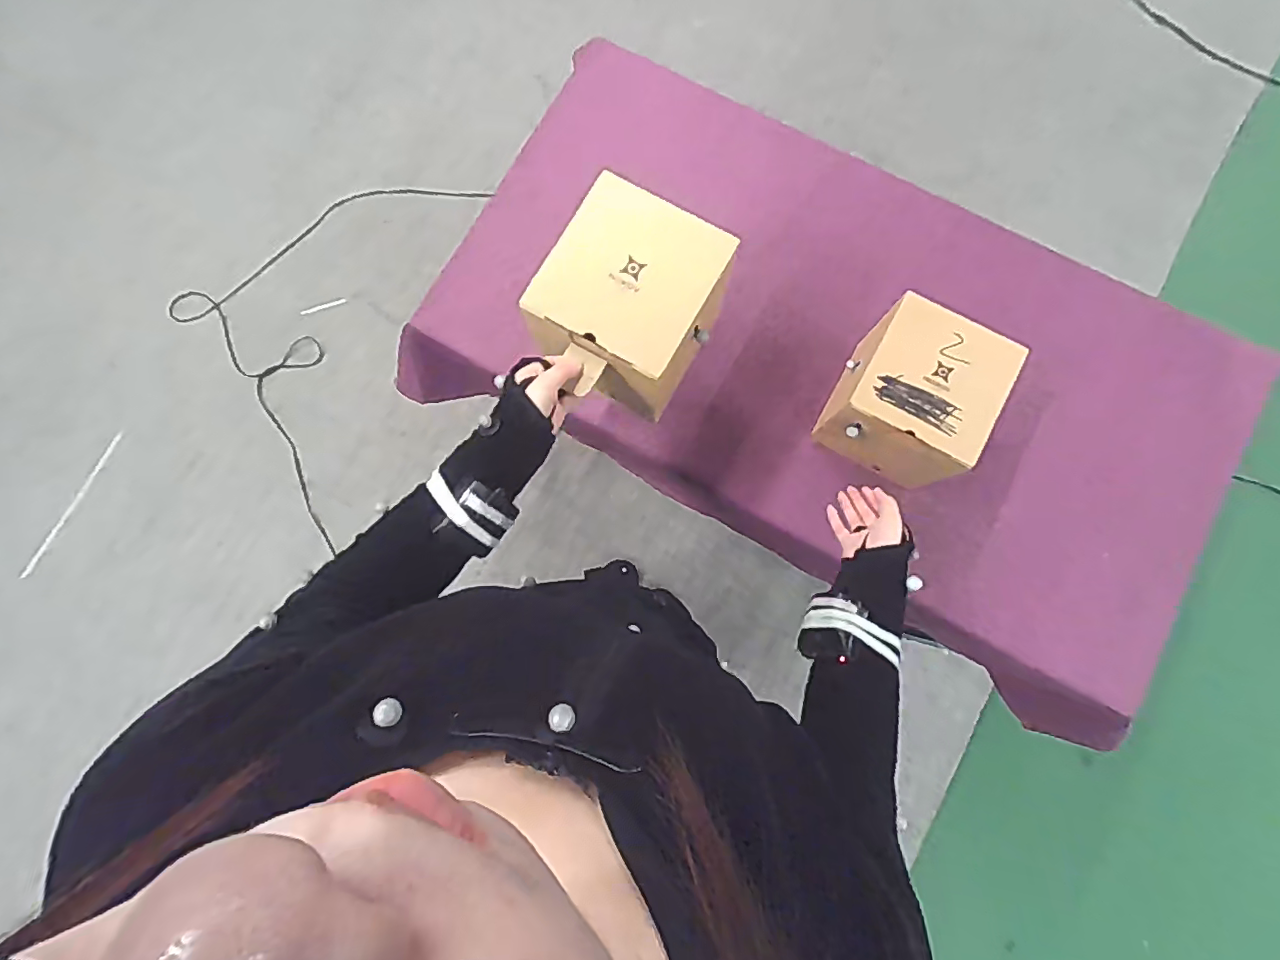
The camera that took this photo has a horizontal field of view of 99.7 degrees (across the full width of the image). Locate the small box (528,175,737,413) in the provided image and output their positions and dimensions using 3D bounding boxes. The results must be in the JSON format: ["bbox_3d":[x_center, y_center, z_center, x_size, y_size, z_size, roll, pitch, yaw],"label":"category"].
[{"bbox_3d":[-0.008,-0.207,0.648,0.168,0.176,0.179,30,83,4],"label":"small box"}]
